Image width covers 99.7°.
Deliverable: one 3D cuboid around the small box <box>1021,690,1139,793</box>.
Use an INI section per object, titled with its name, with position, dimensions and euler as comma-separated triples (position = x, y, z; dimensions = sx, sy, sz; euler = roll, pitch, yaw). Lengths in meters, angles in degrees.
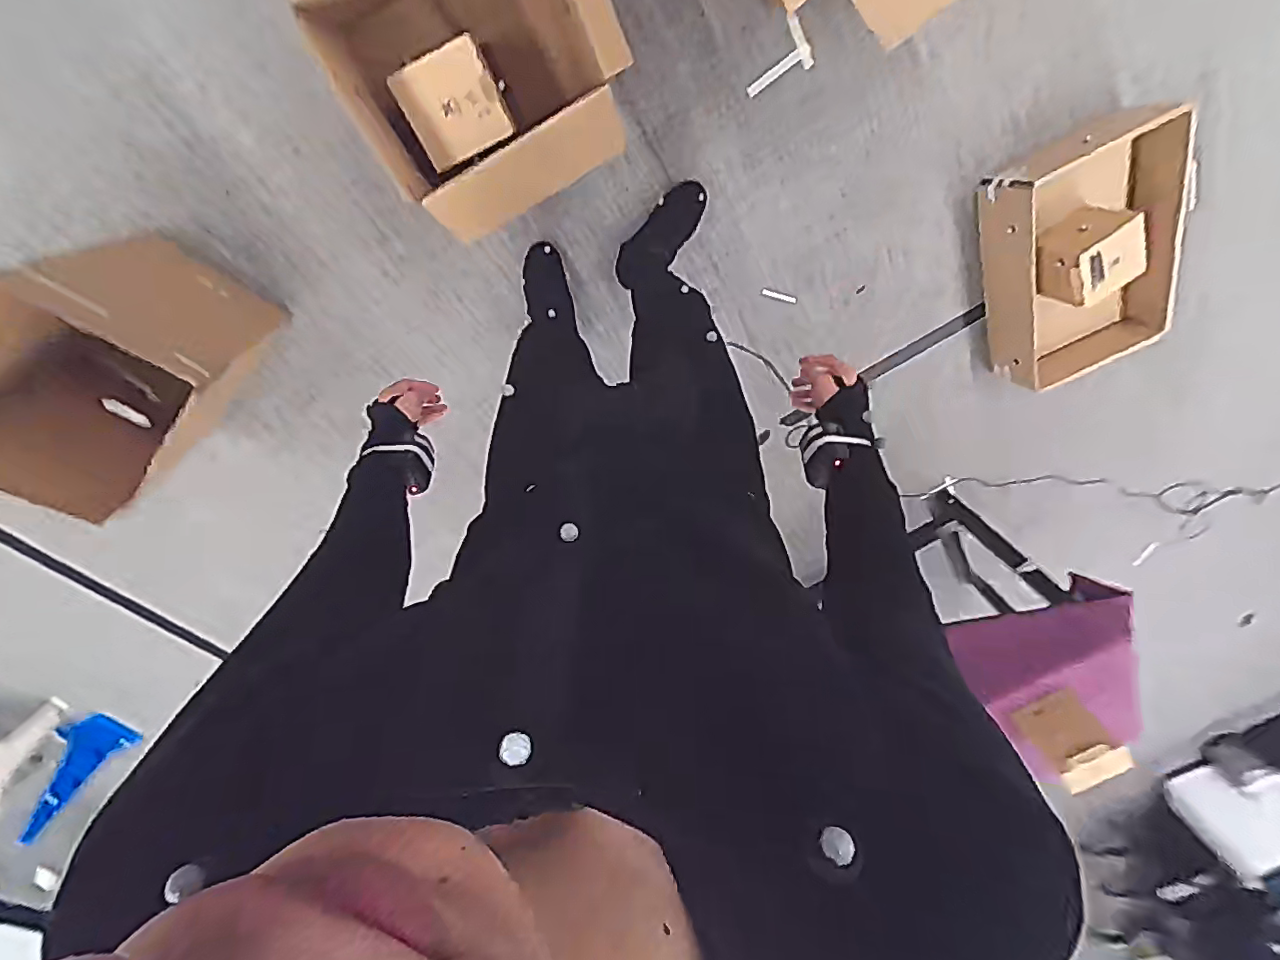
[small box]
position = 1.163, 0.690, 1.441
dimensions = 0.168, 0.176, 0.179
euler = -38, 122, 15
